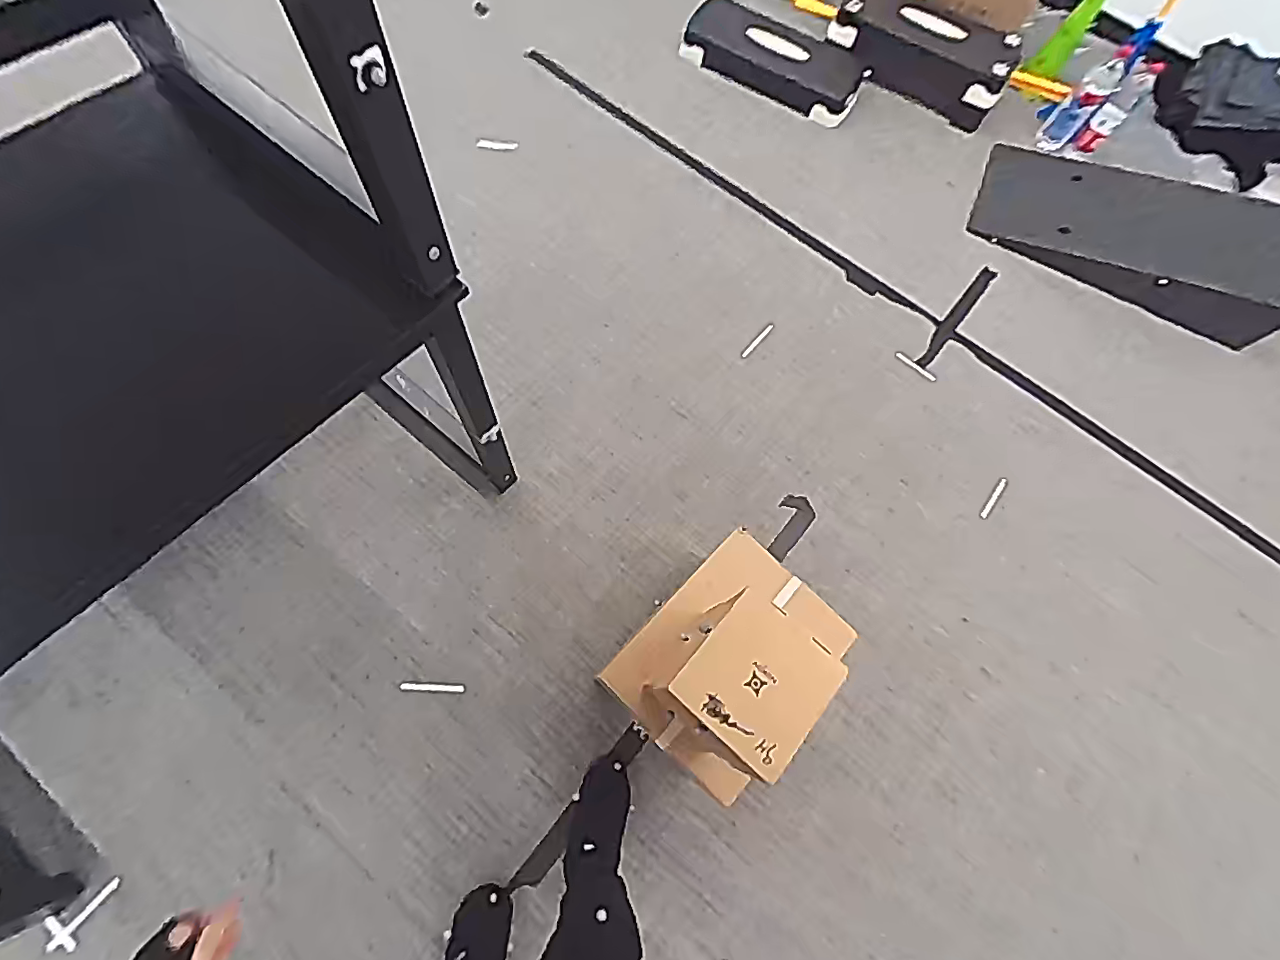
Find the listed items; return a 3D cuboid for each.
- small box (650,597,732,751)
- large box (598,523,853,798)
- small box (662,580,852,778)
[{"bbox_3d":[0.133,0.323,0.900,0.168,0.176,0.179,43,72,11],"label":"small box"},{"bbox_3d":[0.158,0.369,1.147,0.320,0.320,0.408,43,70,9],"label":"large box"},{"bbox_3d":[0.147,0.269,0.745,0.168,0.176,0.179,41,70,11],"label":"small box"}]
